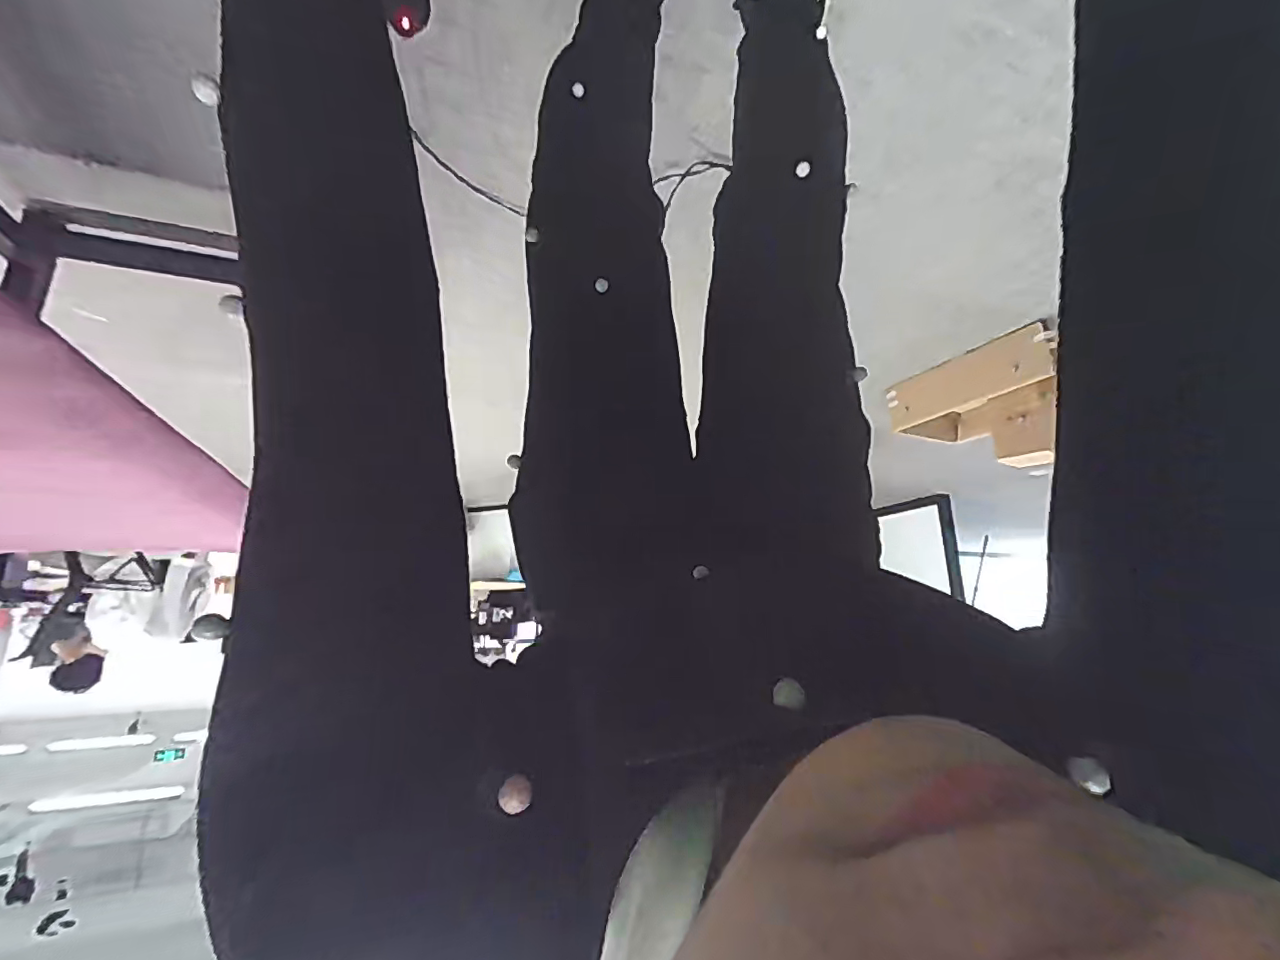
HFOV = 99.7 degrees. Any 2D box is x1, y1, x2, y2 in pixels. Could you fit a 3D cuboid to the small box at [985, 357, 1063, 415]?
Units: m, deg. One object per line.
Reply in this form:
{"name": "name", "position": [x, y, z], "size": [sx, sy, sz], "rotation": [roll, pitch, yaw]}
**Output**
{"name": "small box", "position": [1.352, -0.320, 1.908], "size": [0.179, 0.176, 0.168], "rotation": [8, 167, -27]}

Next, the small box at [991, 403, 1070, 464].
{"name": "small box", "position": [1.353, -0.160, 1.877], "size": [0.179, 0.176, 0.168], "rotation": [9, 166, -31]}
